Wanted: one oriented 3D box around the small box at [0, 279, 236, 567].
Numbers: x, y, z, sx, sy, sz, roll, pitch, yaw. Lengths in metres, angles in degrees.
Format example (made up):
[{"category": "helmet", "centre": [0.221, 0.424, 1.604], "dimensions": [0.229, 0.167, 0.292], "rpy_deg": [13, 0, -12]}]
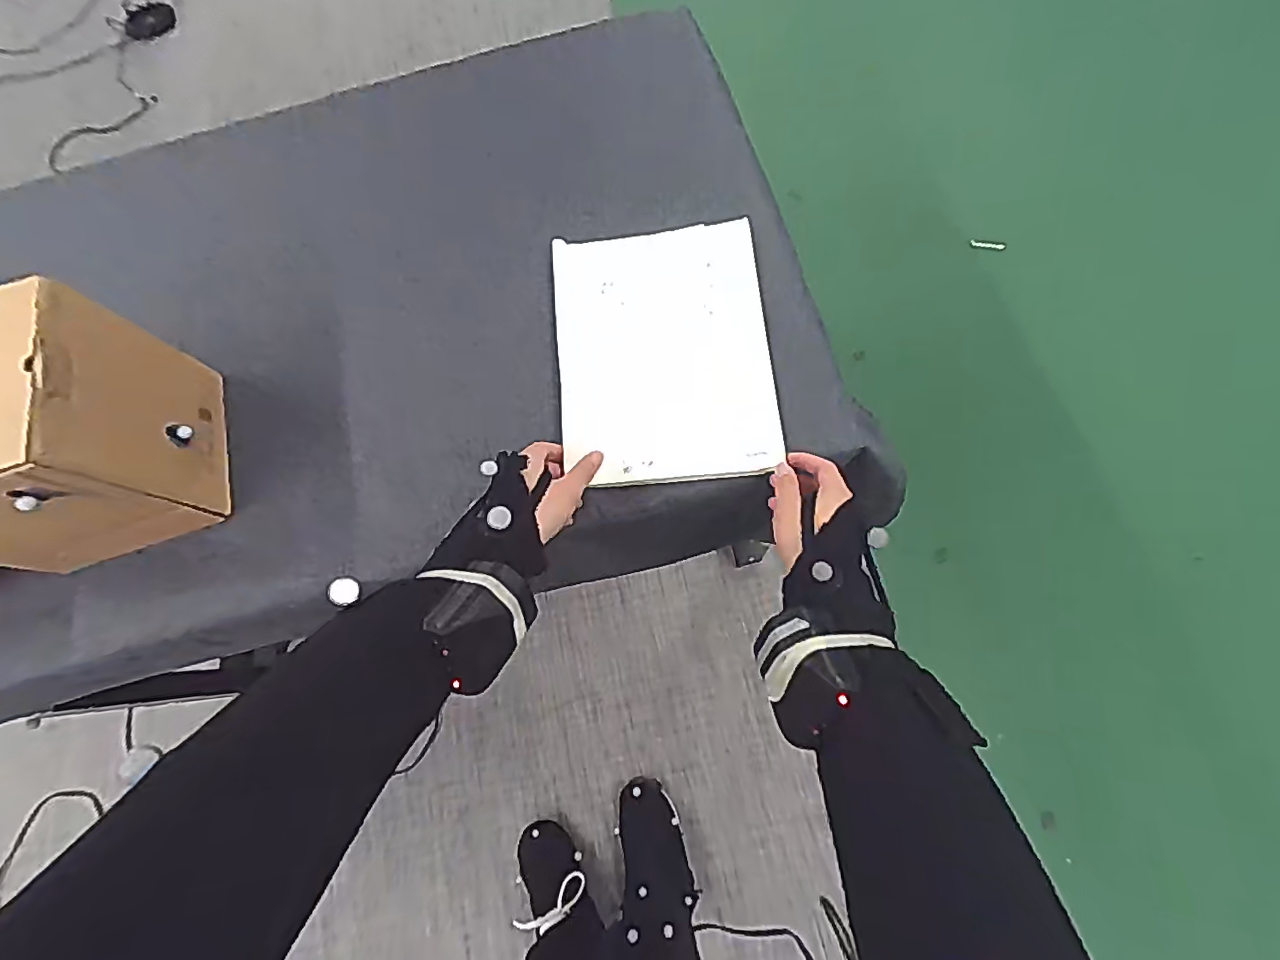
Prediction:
[{"category": "small box", "centre": [-0.504, -0.034, 0.473], "dimensions": [0.179, 0.176, 0.168], "rpy_deg": [-19, 71, 0]}]
